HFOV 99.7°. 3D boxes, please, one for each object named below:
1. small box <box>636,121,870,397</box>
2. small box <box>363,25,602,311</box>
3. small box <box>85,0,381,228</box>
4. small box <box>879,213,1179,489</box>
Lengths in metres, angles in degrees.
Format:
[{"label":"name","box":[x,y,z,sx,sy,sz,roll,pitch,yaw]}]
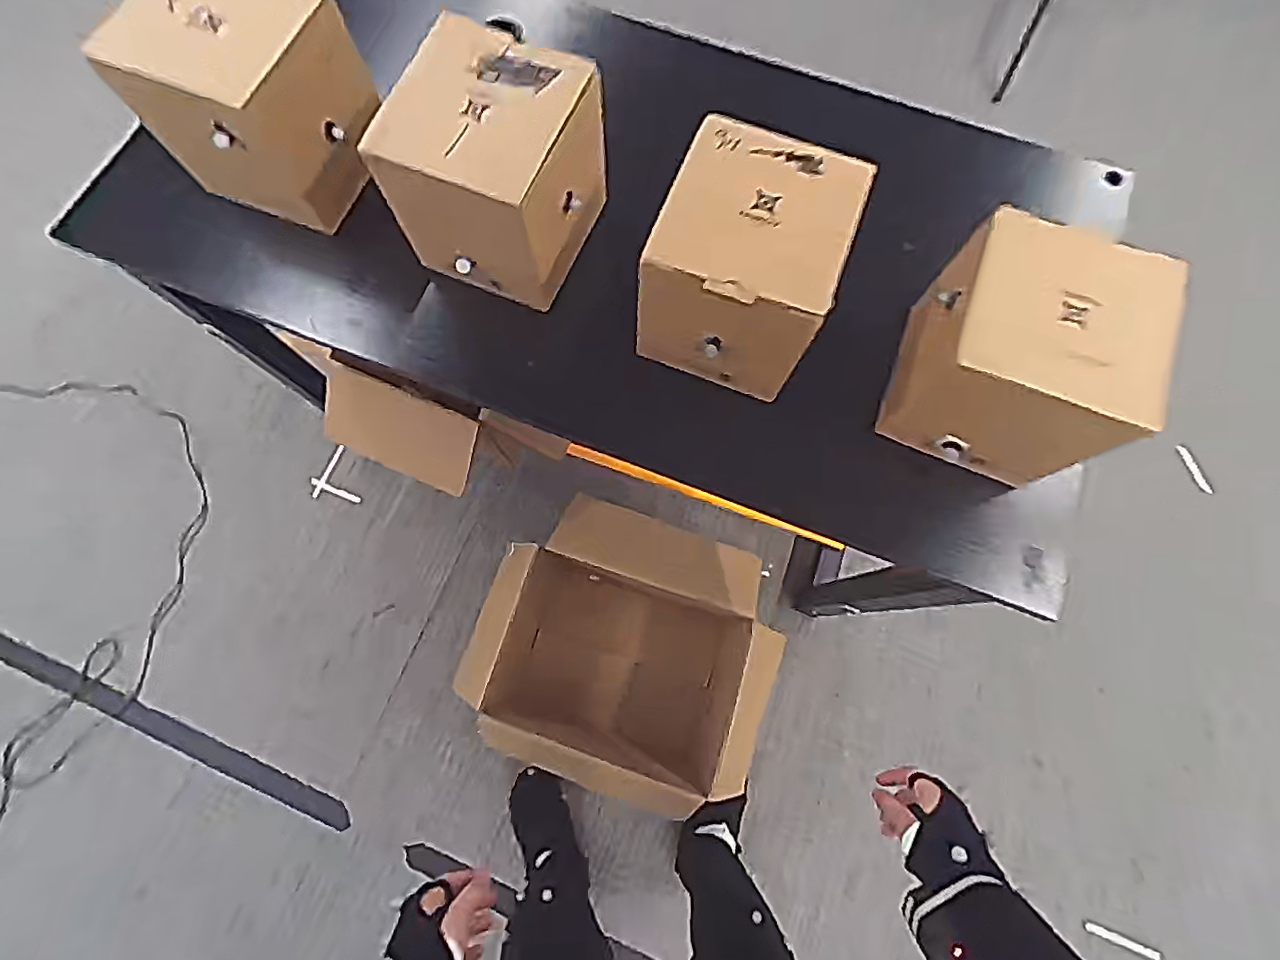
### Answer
[{"label":"small box","box":[0.104,-0.211,0.557,0.168,0.176,0.179,21,75,5]},{"label":"small box","box":[-0.148,-0.320,0.581,0.168,0.176,0.179,22,76,5]},{"label":"small box","box":[-0.416,-0.416,0.599,0.179,0.176,0.168,21,74,4]},{"label":"small box","box":[0.364,-0.114,0.535,0.168,0.176,0.179,22,75,6]}]
